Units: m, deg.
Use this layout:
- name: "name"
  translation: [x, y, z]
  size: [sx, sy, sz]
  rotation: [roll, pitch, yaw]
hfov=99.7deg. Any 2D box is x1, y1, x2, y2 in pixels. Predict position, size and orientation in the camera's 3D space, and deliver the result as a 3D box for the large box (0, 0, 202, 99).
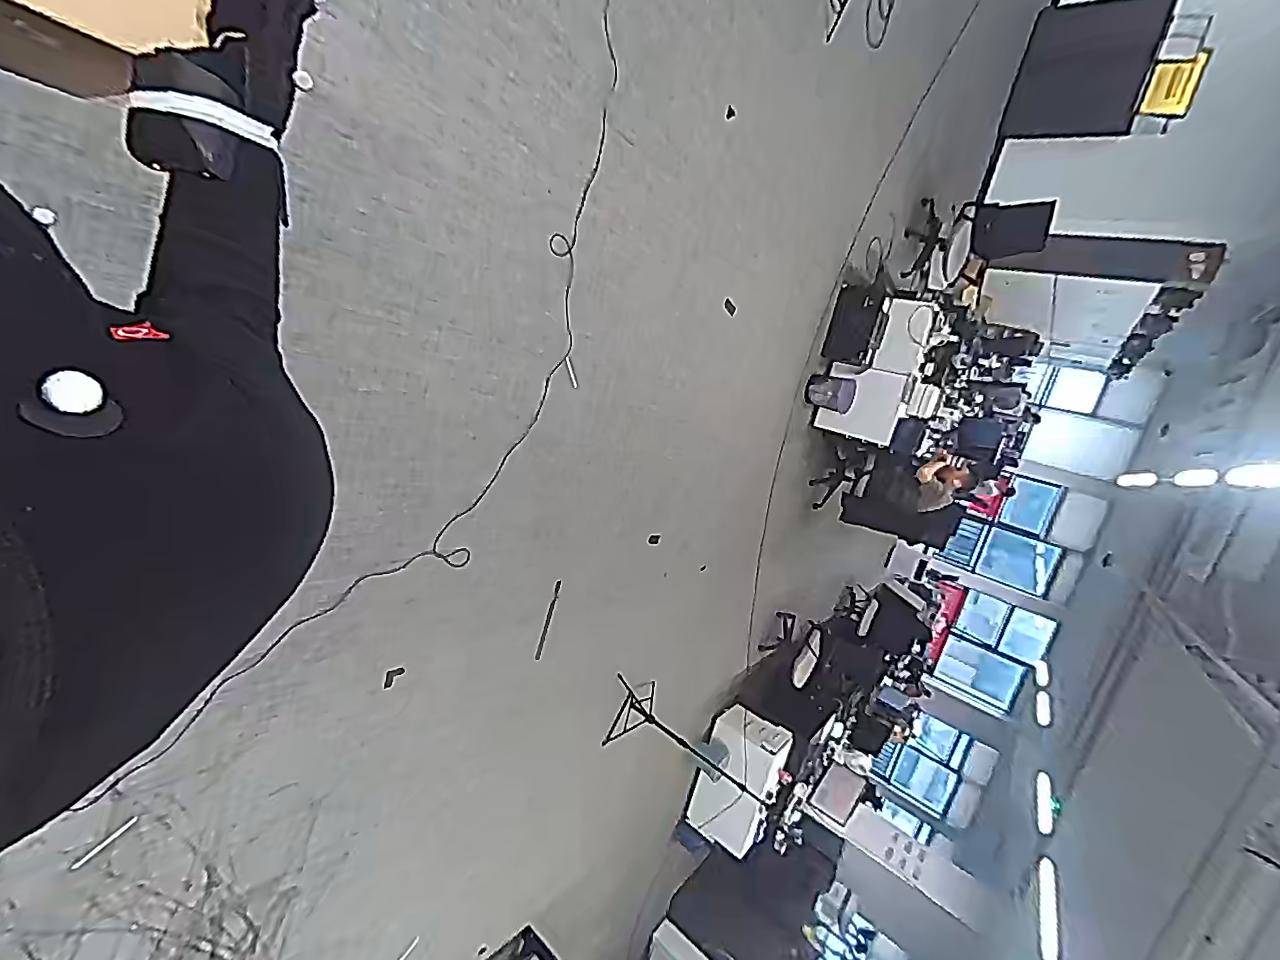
- name: "large box"
  translation: [-0.505, -0.450, 0.255]
  size: [0.408, 0.320, 0.320]
  rotation: [-6, 115, -56]
